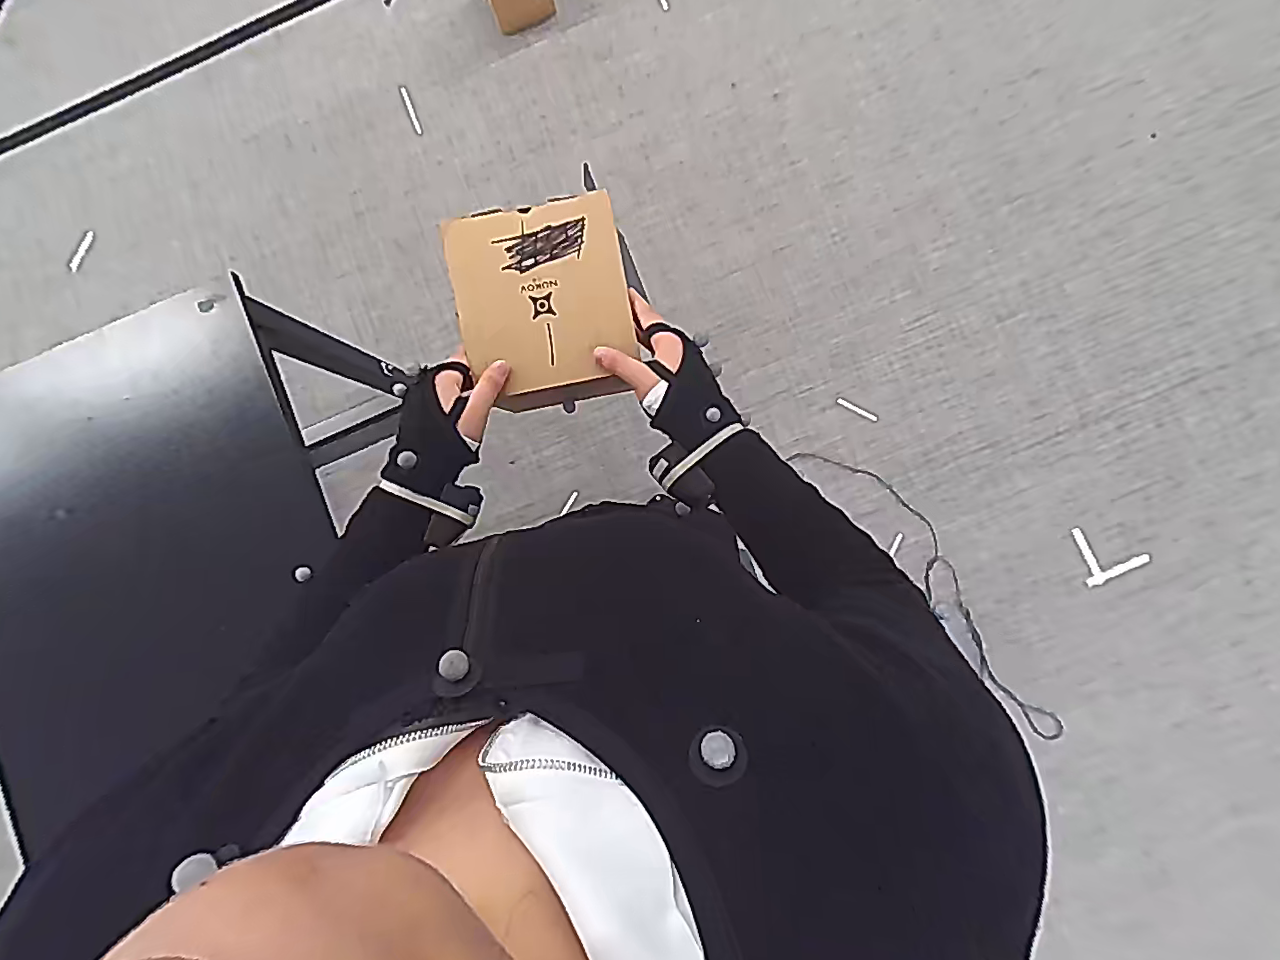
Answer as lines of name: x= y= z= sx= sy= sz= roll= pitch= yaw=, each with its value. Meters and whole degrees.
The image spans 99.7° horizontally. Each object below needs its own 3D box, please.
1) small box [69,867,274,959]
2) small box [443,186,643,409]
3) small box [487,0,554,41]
small box: x=-0.615 y=0.650 z=0.699 sx=0.179 sy=0.176 sz=0.168 roll=-19 pitch=85 yaw=3
small box: x=-0.094 y=-0.183 z=0.594 sx=0.168 sy=0.176 sz=0.179 roll=-11 pitch=93 yaw=0
small box: x=-0.354 y=-1.400 z=1.519 sx=0.179 sy=0.176 sz=0.168 roll=-23 pitch=85 yaw=3
